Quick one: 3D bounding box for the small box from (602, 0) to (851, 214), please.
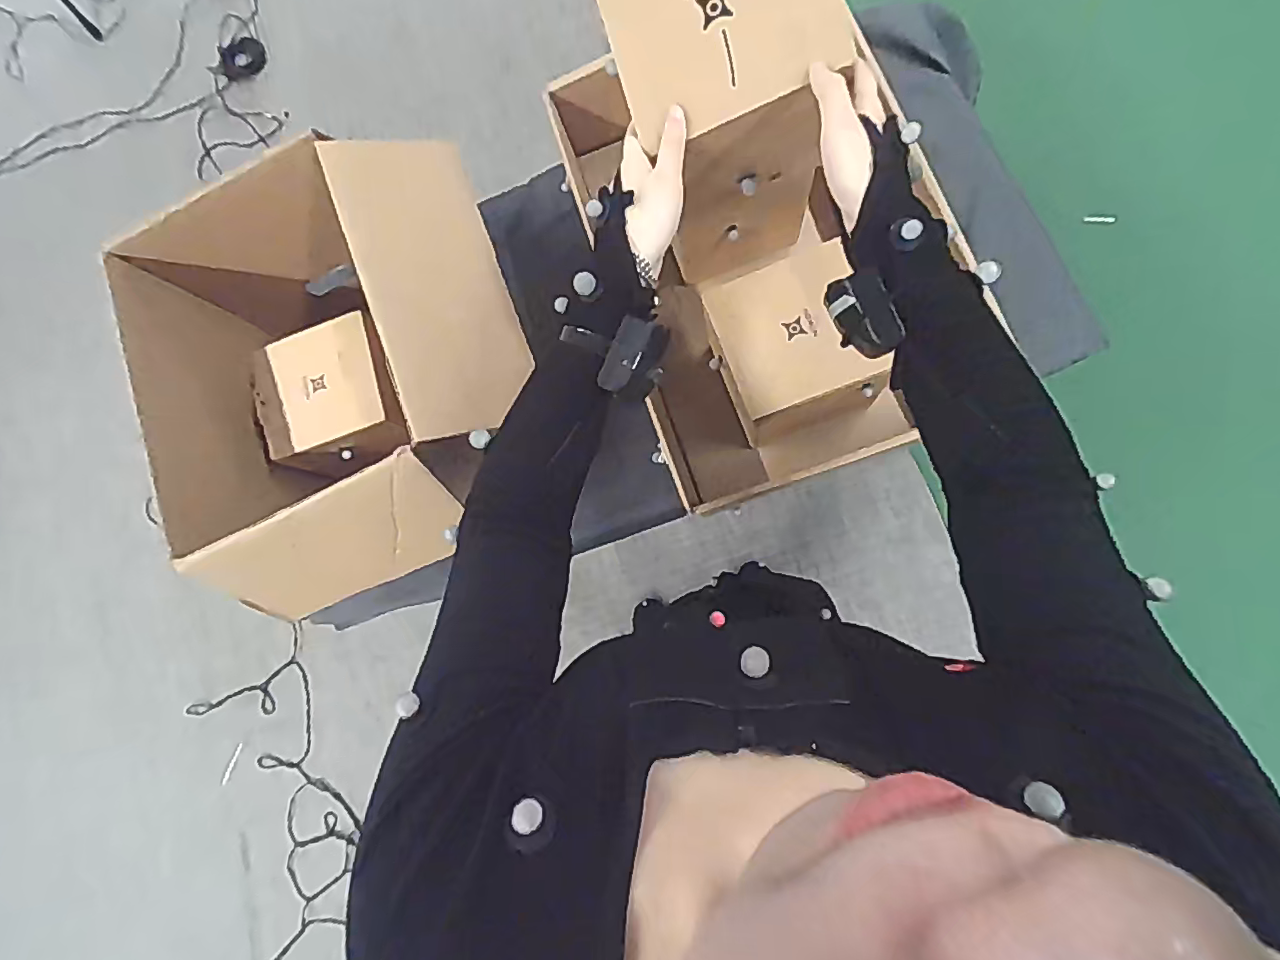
[{"bbox_3d":[0.072,-0.374,0.482,0.168,0.176,0.179,-15,96,15],"label":"small box"}]

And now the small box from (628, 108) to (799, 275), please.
[{"bbox_3d":[0.103,-0.407,0.726,0.179,0.176,0.168,-20,83,7],"label":"small box"}]
